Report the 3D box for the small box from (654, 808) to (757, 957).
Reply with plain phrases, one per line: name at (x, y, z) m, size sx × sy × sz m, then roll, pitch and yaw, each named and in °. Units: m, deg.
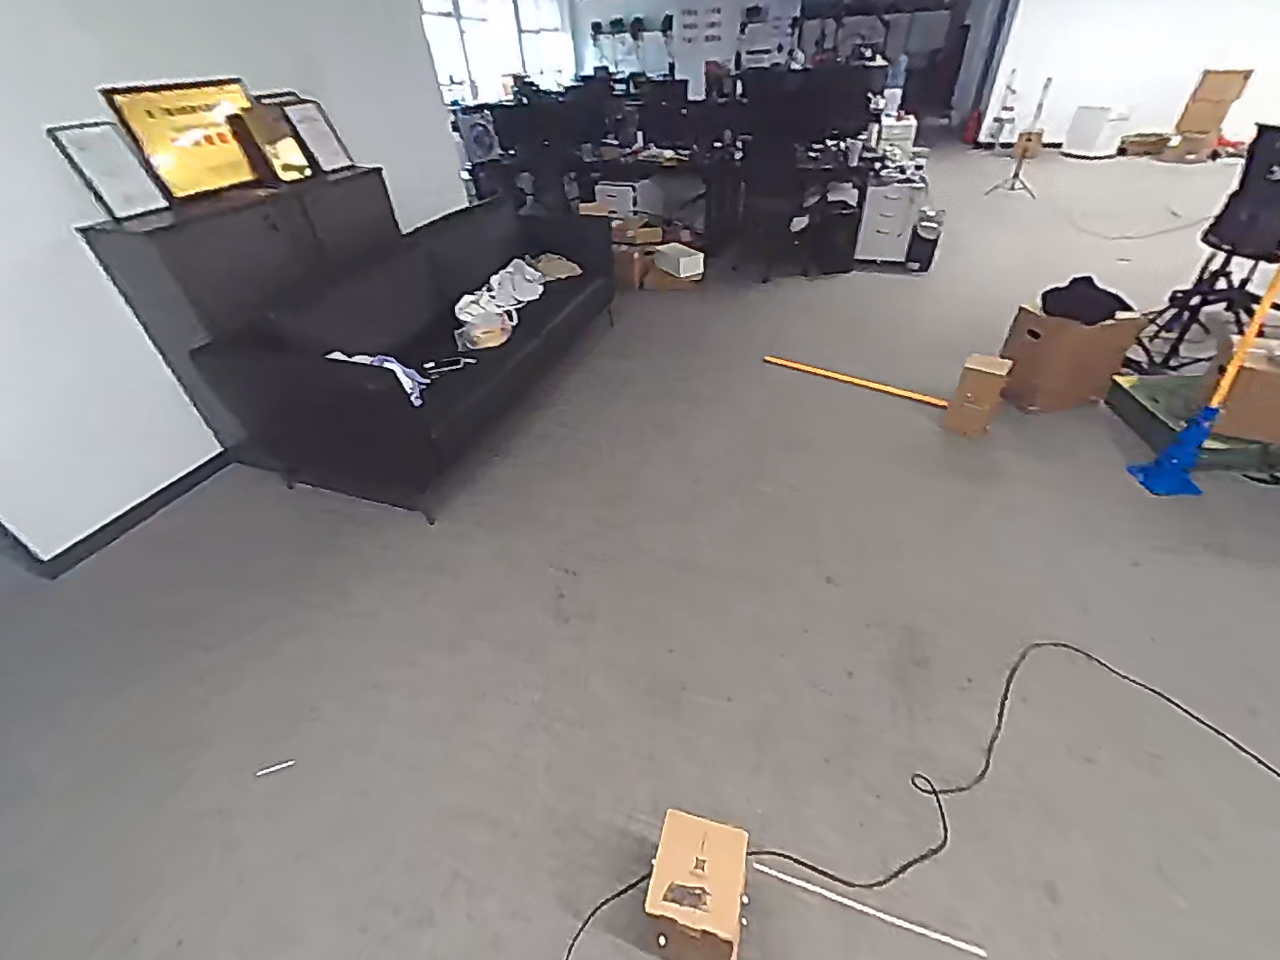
small box at (0.134, 0.793, 1.064) m, size 0.168 × 0.176 × 0.179 m, roll 7°, pitch 40°, yaw 16°
